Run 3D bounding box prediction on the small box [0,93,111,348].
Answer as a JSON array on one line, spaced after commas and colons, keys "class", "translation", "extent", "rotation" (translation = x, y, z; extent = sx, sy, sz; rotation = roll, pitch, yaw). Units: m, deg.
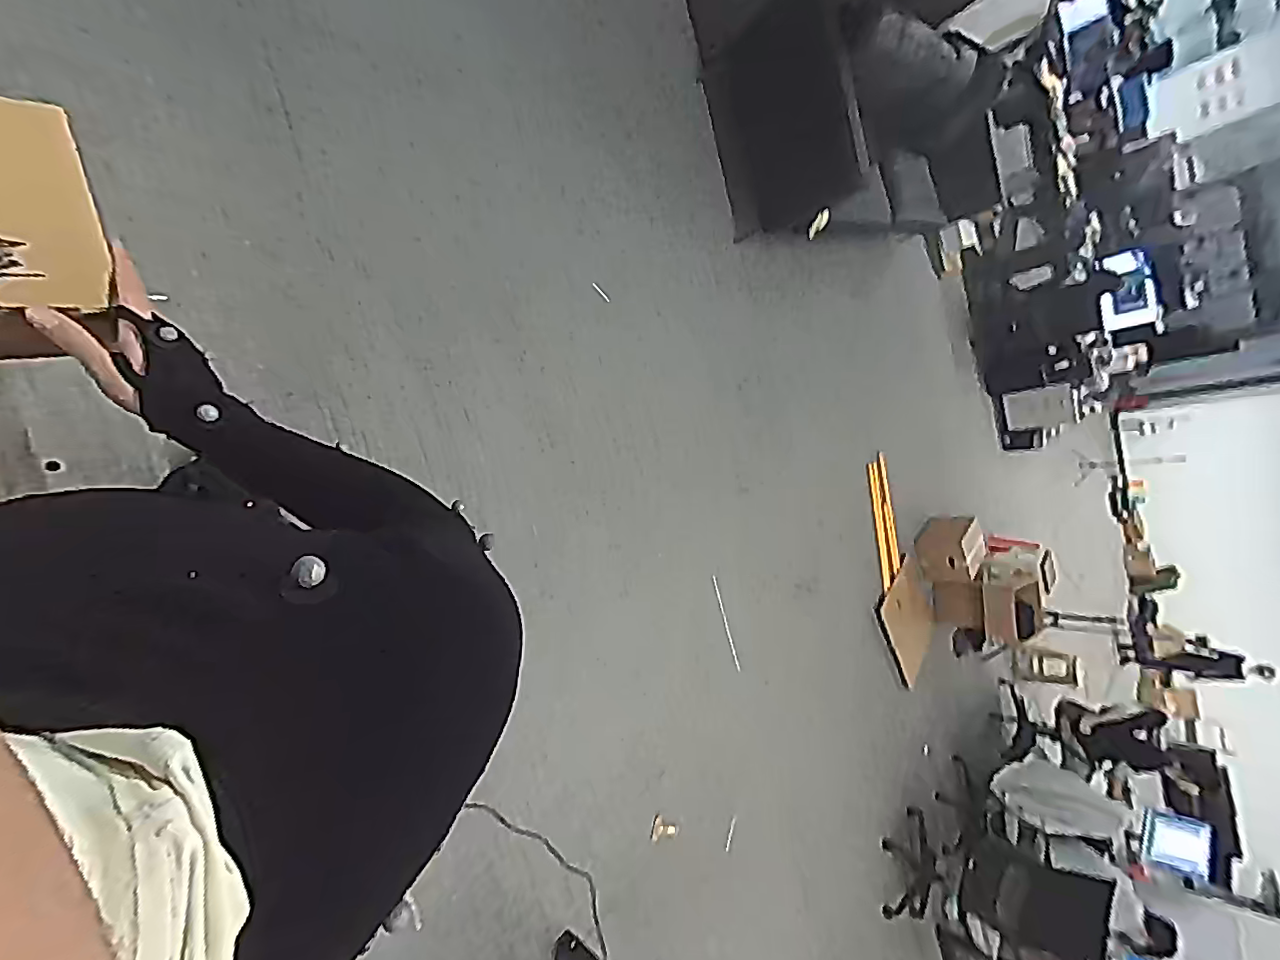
[{"class": "small box", "translation": [-0.598, -0.215, 0.472], "extent": [0.168, 0.176, 0.179], "rotation": [-19, 98, -43]}]
